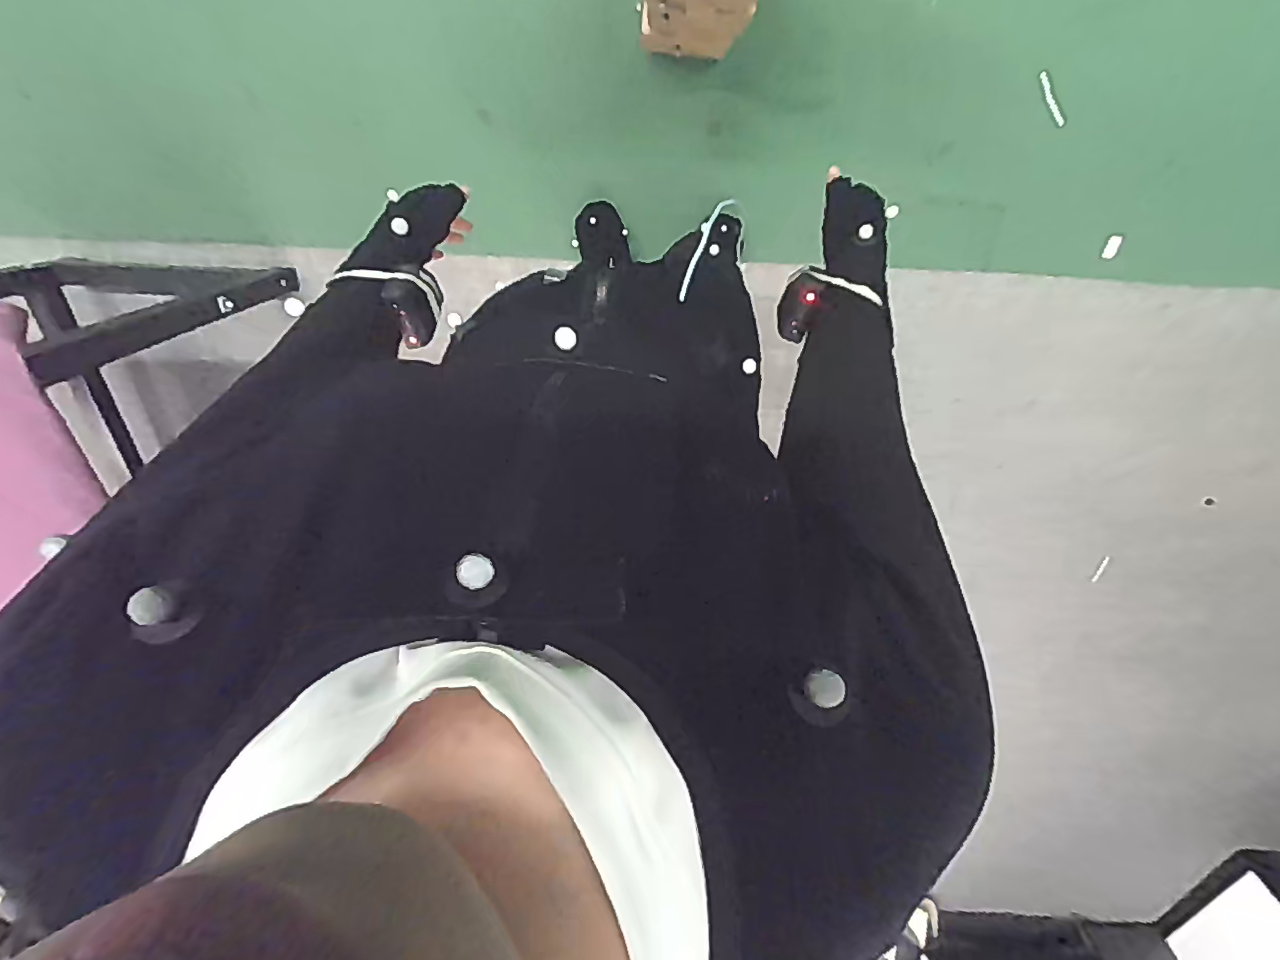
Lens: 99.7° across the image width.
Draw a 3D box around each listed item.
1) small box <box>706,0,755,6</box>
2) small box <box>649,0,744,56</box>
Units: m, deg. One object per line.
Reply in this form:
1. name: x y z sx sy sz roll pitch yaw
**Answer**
1. small box: 0.095 -0.742 0.692 0.168 0.176 0.179 4 120 -1
2. small box: 0.104 -0.899 0.981 0.168 0.176 0.179 5 122 -1
